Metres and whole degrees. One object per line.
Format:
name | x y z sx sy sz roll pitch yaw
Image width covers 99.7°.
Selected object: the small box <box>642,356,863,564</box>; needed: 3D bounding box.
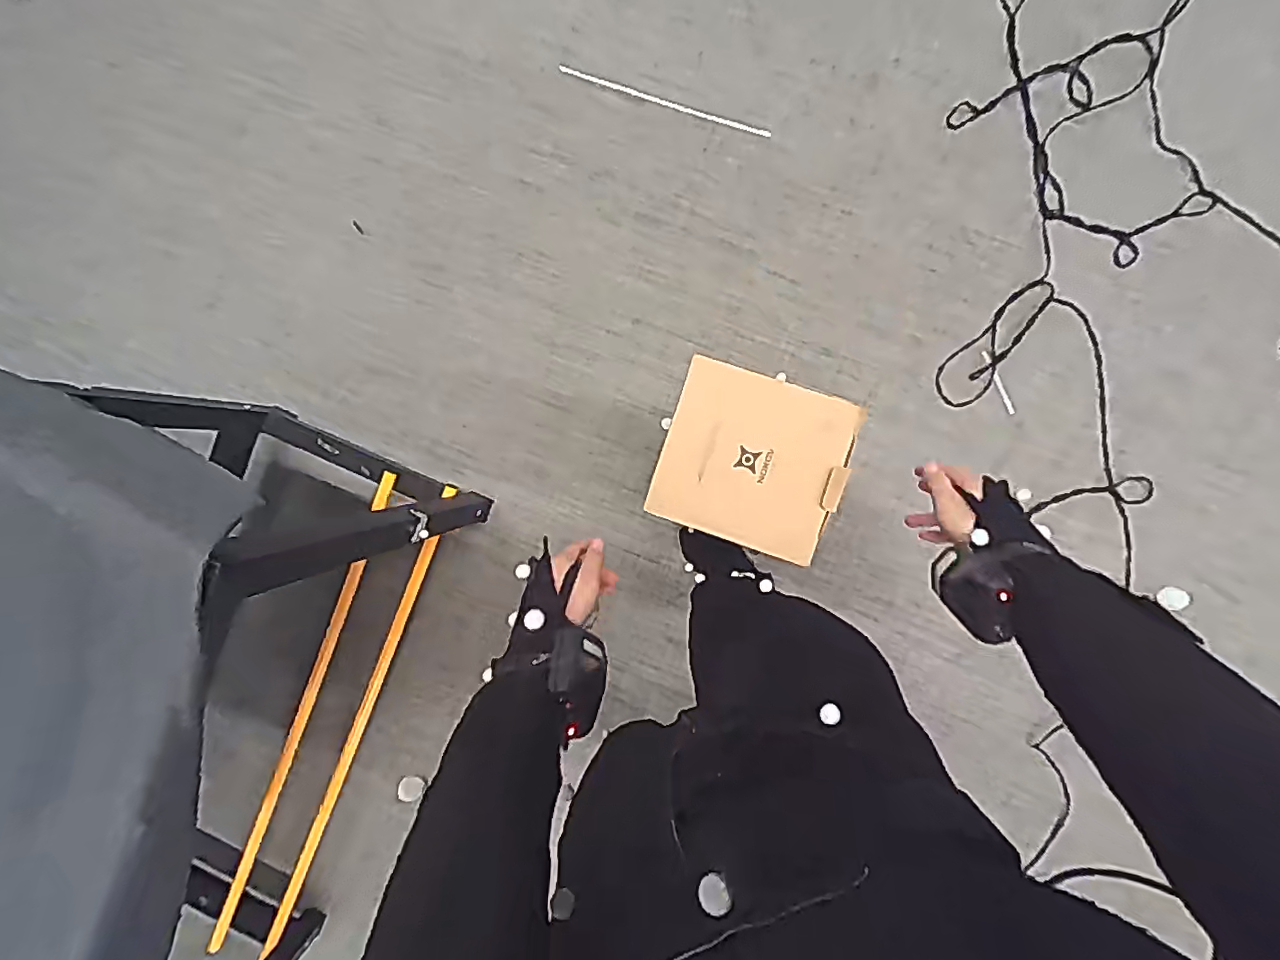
small box | 0.116 -0.024 0.610 0.179 0.176 0.168 19 94 5
